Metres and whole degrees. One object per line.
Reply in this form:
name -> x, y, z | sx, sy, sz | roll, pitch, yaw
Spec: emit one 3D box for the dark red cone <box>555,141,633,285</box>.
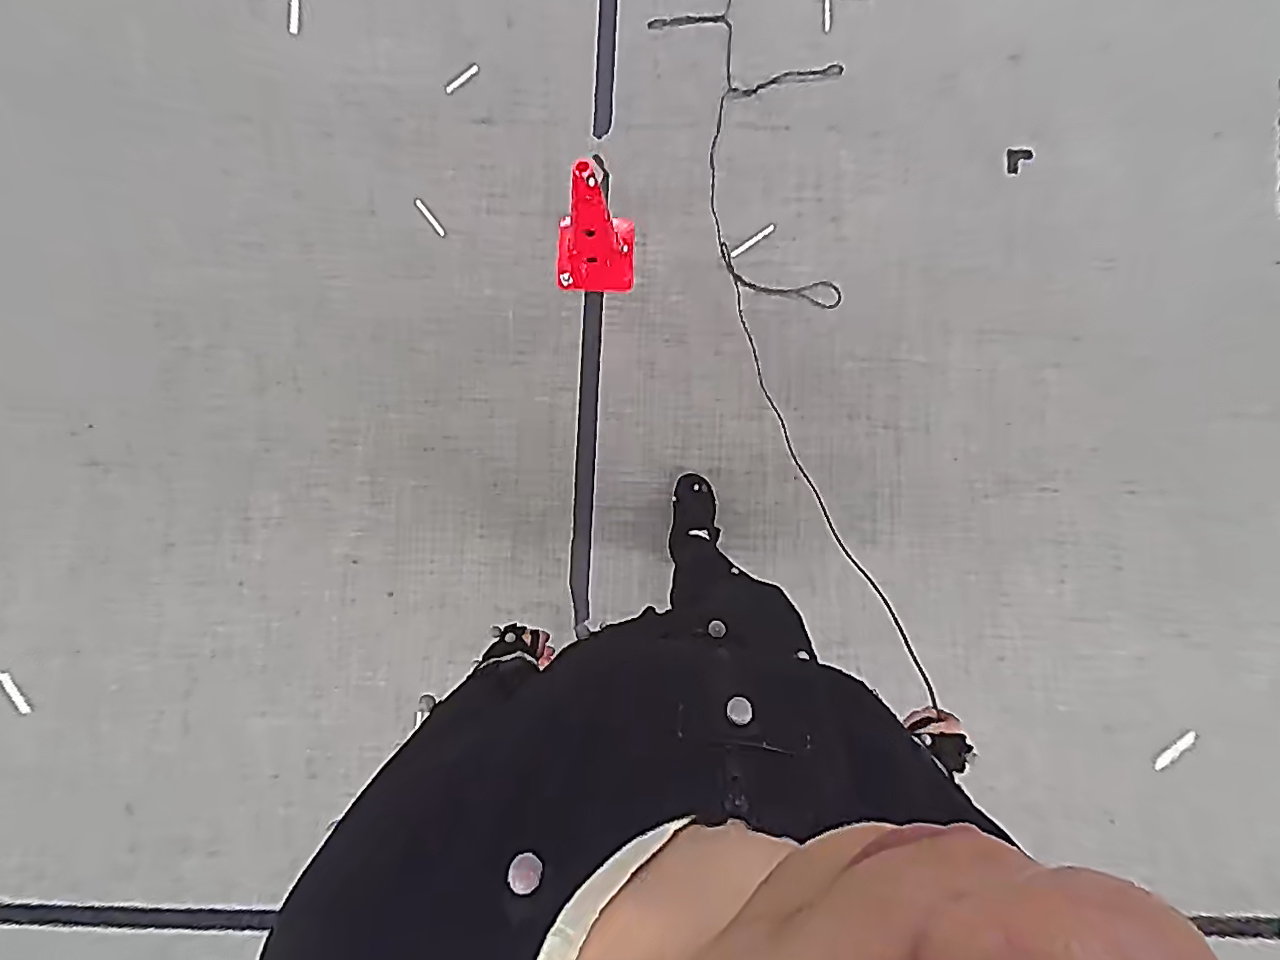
dark red cone -> -0.114, -0.614, 1.230 | 0.201, 0.394, 0.202 | 1, 85, -1
